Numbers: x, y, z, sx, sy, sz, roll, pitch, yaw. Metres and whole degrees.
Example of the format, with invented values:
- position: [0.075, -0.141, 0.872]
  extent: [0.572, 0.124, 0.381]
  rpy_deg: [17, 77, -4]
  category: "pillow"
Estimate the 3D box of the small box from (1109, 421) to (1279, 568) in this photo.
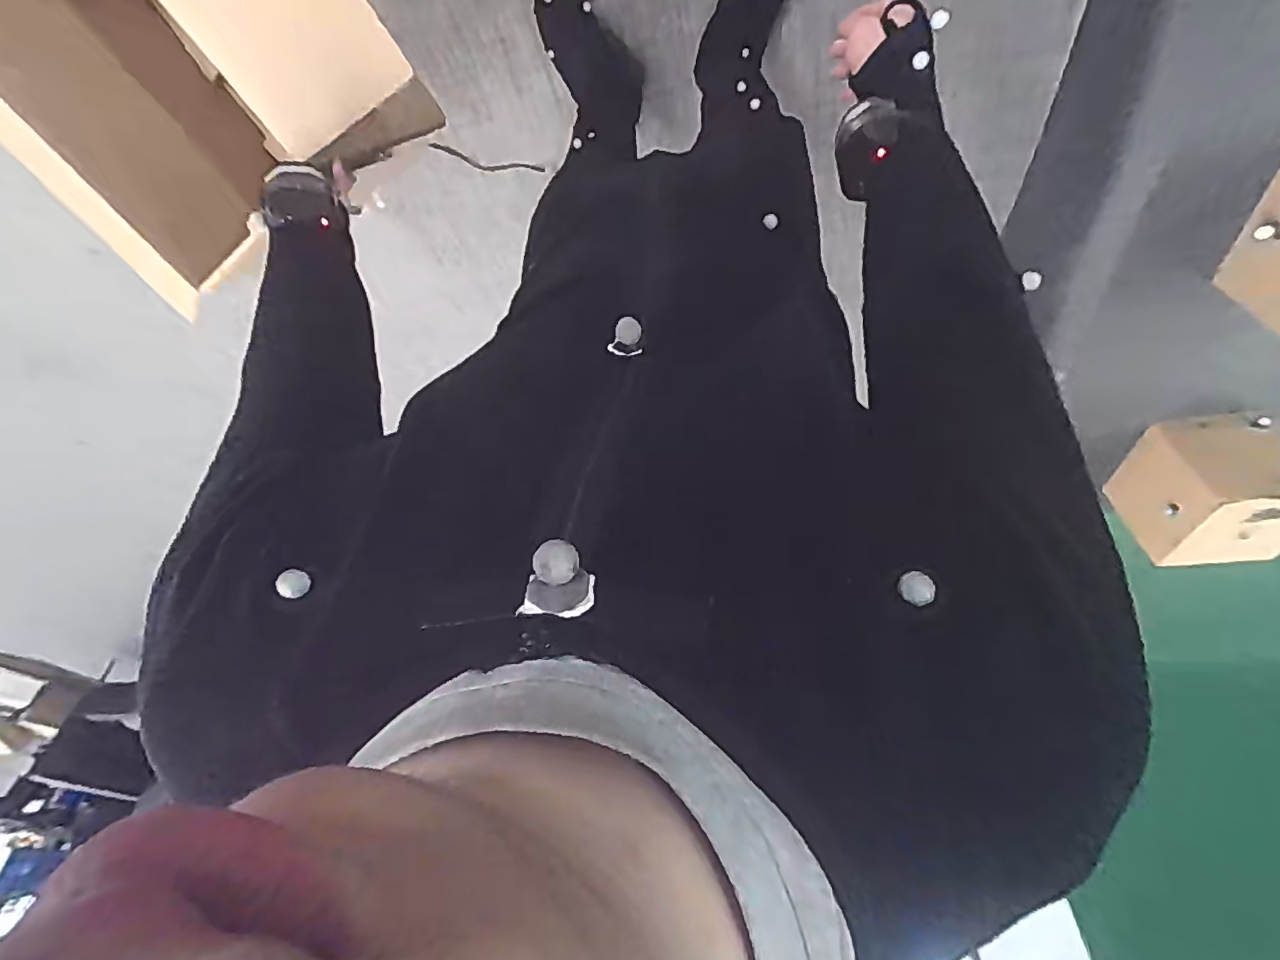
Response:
- position: [0.908, 0.019, 0.859]
  extent: [0.168, 0.176, 0.179]
  rpy_deg: [-5, 140, 8]
  category: "small box"

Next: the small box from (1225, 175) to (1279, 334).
- position: [0.775, -0.252, 0.550]
  extent: [0.168, 0.176, 0.179]
  rpy_deg: [-8, 139, 11]
  category: "small box"
